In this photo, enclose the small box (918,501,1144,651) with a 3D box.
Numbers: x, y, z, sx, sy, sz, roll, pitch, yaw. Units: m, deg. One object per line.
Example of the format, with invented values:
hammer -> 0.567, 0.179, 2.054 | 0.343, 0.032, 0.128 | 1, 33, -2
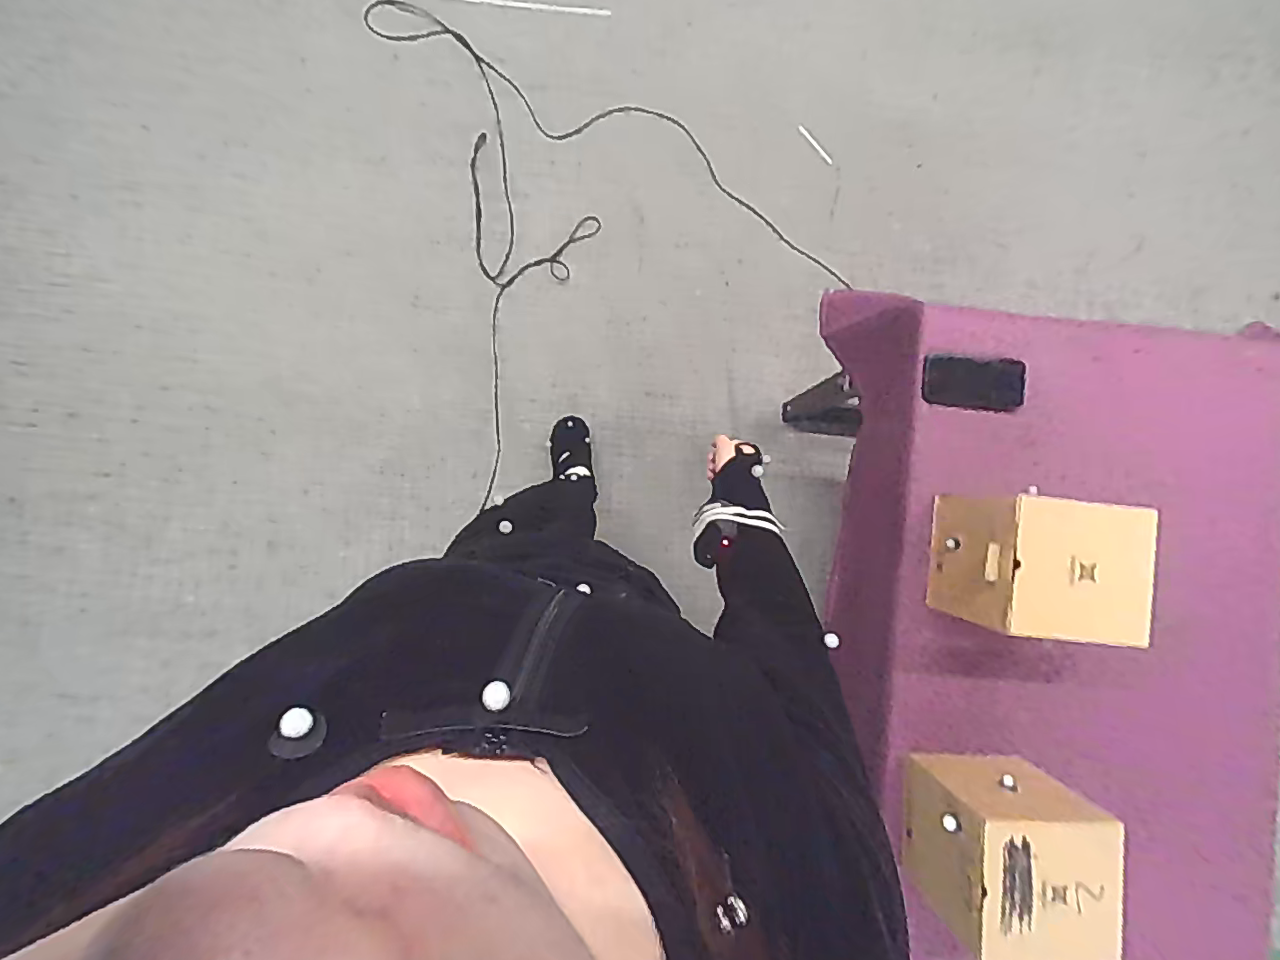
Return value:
small box -> 0.515, 0.119, 0.733 | 0.179, 0.176, 0.168 | 6, 89, -3
